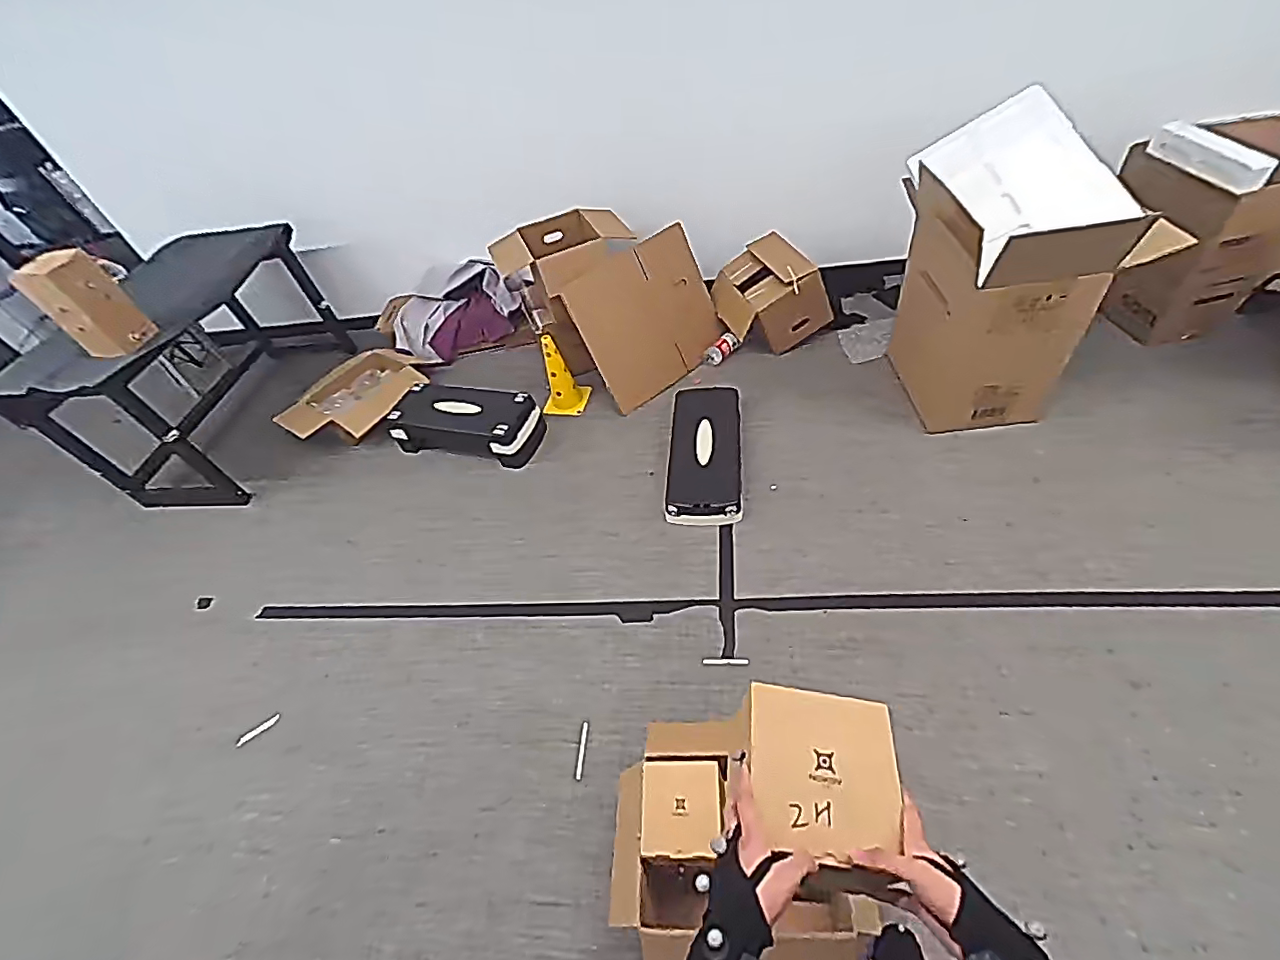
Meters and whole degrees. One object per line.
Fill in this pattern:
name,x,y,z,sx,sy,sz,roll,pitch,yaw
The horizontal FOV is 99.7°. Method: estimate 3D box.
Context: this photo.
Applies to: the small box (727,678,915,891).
small box,0.201,0.368,0.653,0.168,0.176,0.179,8,49,4
